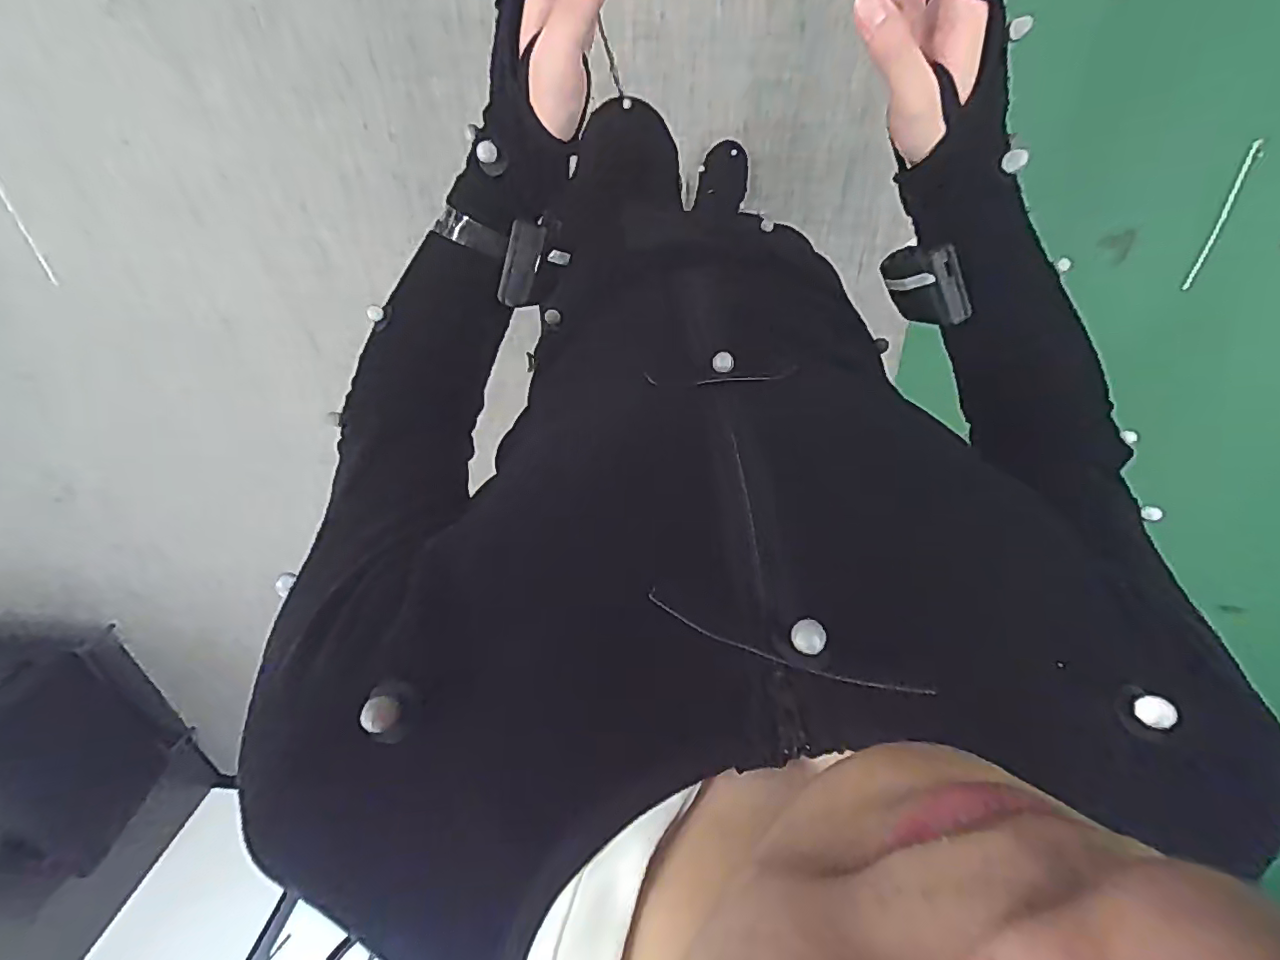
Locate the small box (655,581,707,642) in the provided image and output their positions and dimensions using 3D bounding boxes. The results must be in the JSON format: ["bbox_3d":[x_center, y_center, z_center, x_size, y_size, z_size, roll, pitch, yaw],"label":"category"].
[{"bbox_3d":[0.152,0.487,1.978,0.179,0.176,0.168,4,122,5],"label":"small box"}]
